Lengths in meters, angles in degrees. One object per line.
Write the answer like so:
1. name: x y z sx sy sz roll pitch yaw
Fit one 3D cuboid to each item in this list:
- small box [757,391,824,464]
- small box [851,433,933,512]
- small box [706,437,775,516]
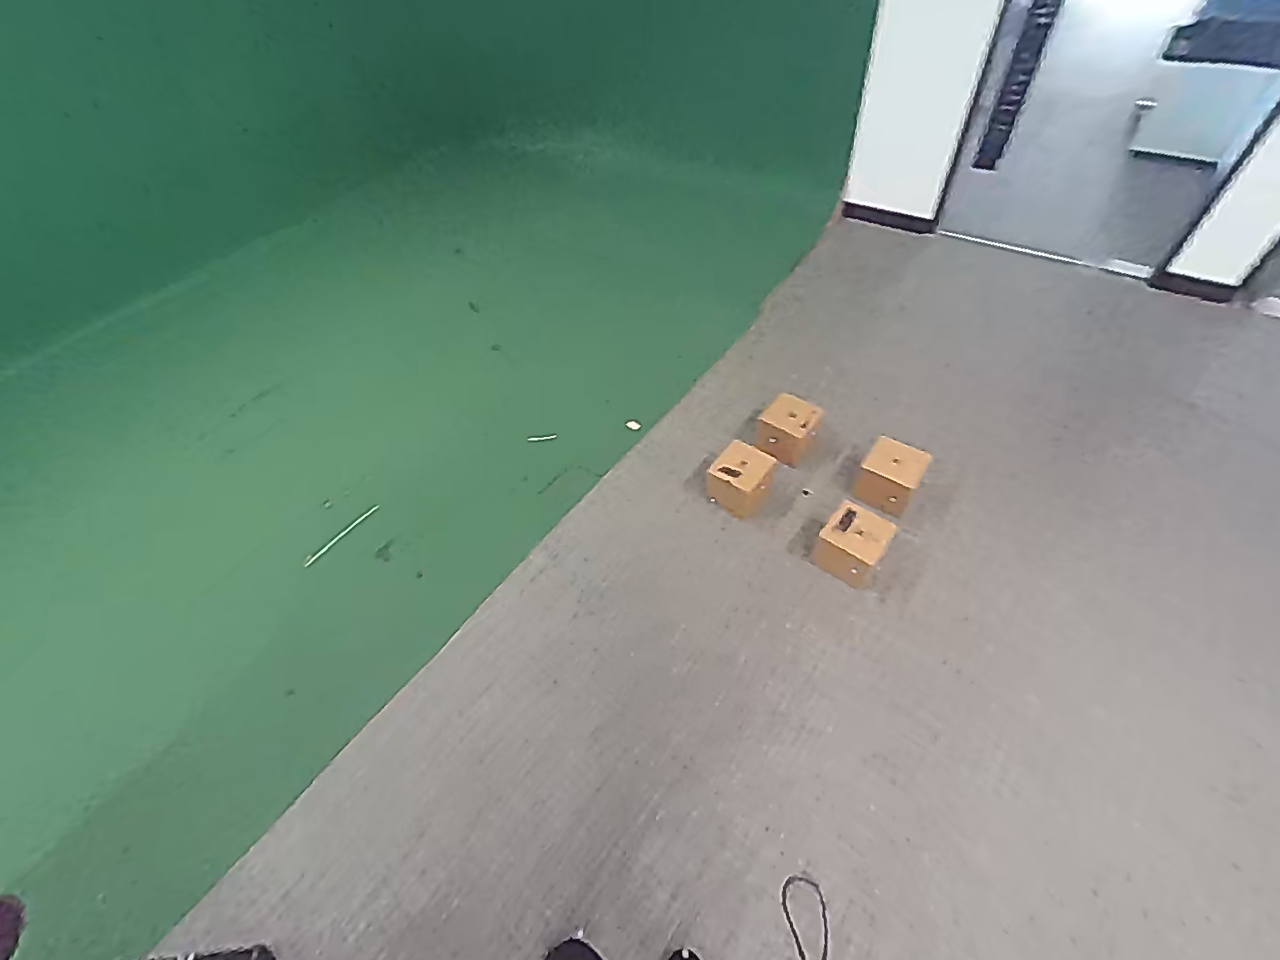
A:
1. small box: 0.541 -0.188 1.967 0.179 0.176 0.168 32 63 28
2. small box: 0.834 -0.019 1.801 0.179 0.176 0.168 29 61 26
3. small box: 0.344 -0.007 1.856 0.168 0.176 0.179 31 62 26
